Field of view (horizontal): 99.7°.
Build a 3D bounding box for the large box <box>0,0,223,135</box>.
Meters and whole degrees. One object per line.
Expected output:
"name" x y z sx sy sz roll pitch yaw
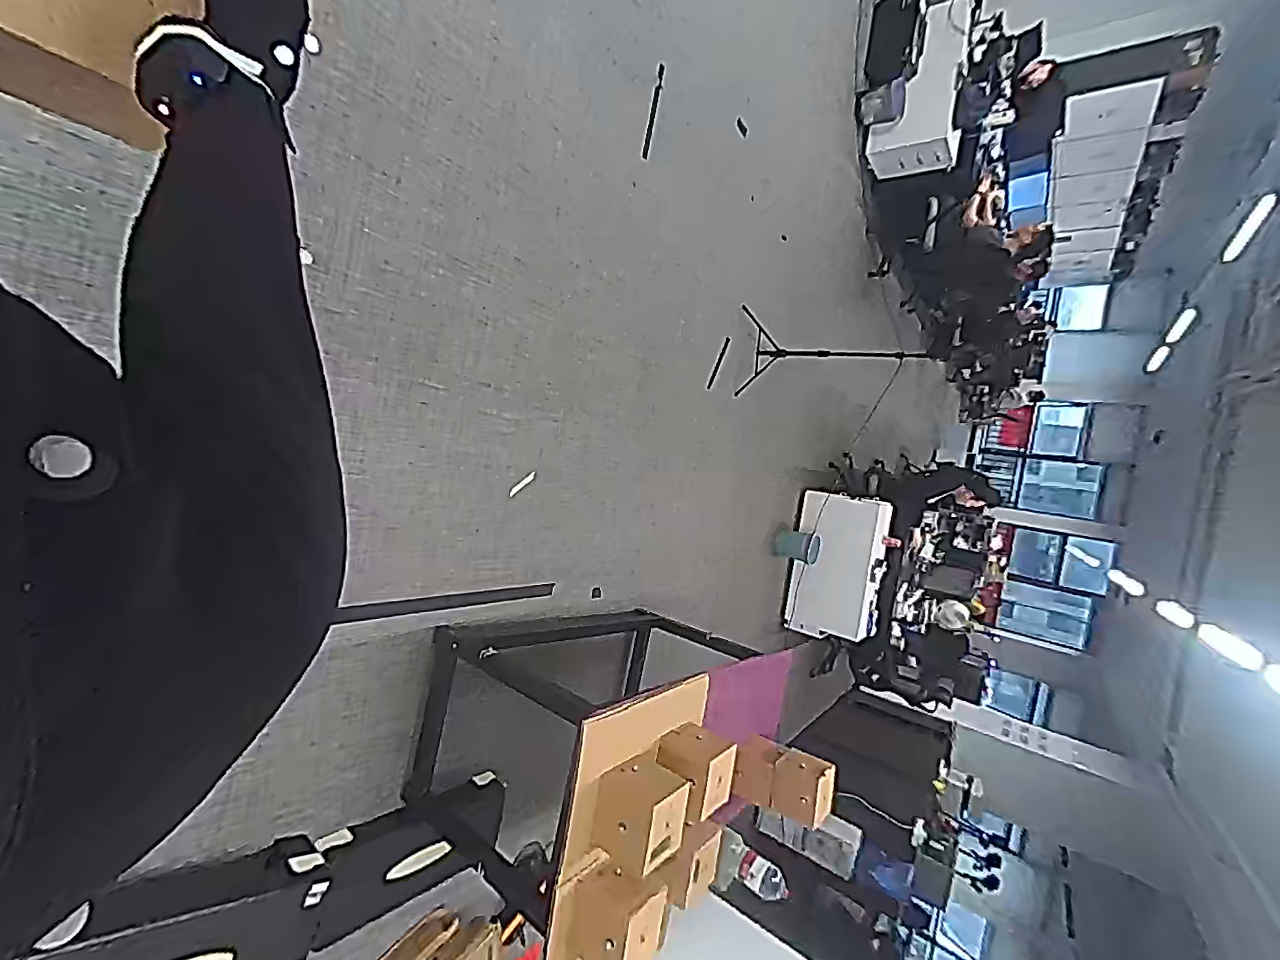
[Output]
"large box" -0.573 -0.518 0.390 0.408 0.320 0.320 5 103 -51
